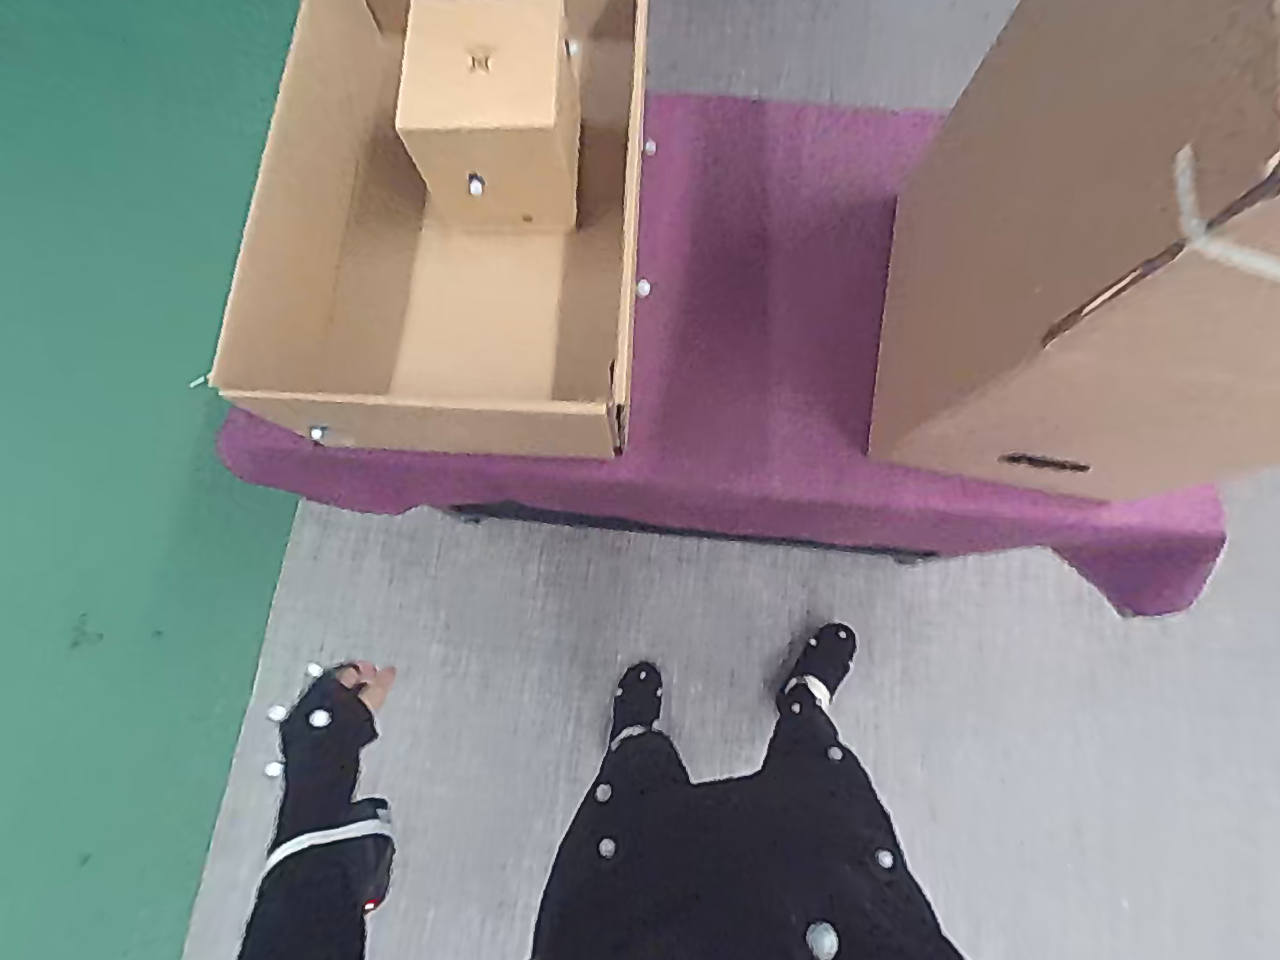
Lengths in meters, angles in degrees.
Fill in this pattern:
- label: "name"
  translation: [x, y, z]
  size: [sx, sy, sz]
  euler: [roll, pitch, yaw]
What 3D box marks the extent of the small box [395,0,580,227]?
- label: "small box"
  translation: [-0.165, -0.423, 0.641]
  size: [0.168, 0.176, 0.179]
  euler: [-1, 77, 2]
